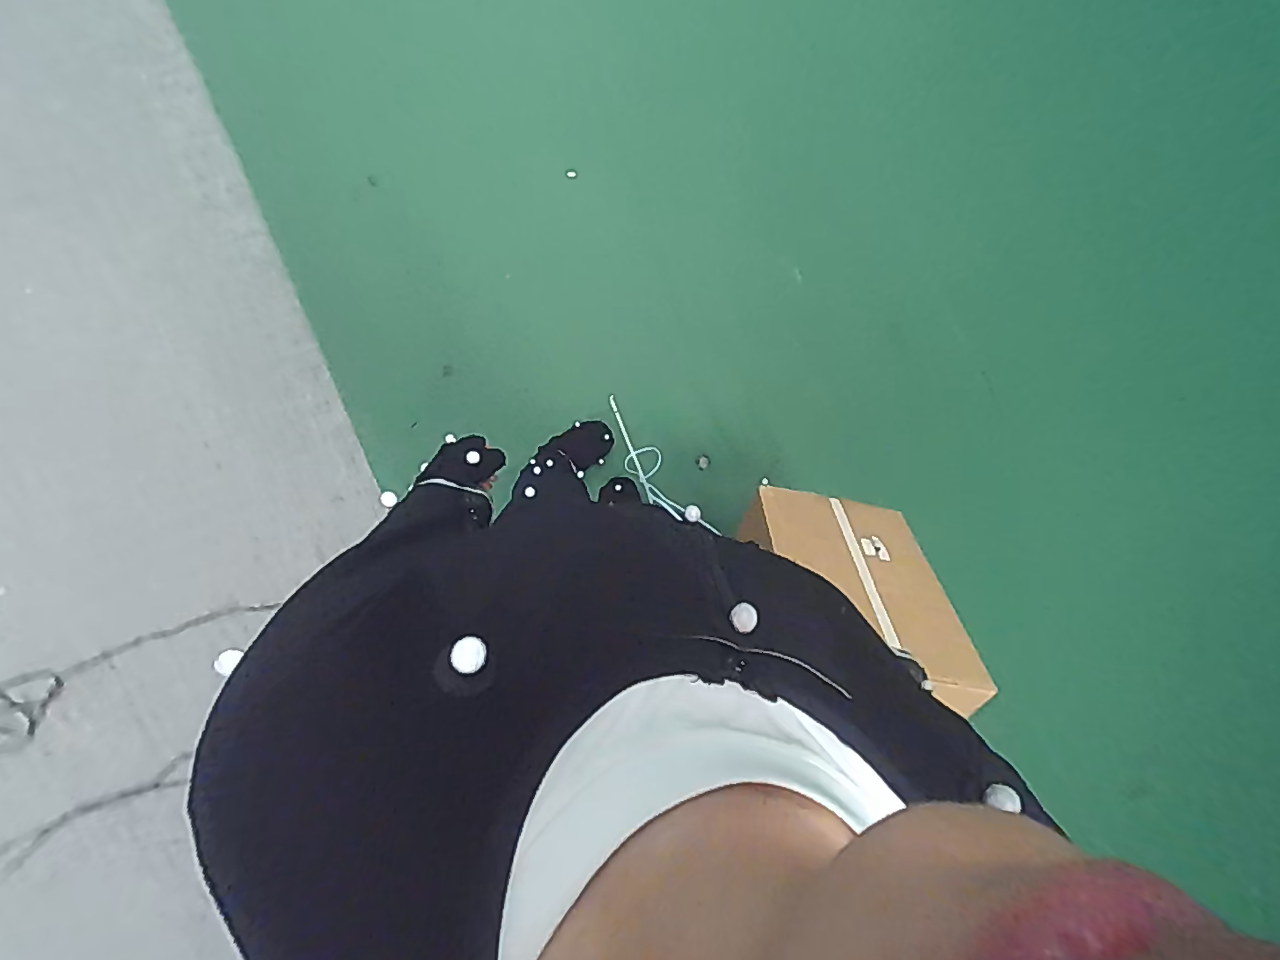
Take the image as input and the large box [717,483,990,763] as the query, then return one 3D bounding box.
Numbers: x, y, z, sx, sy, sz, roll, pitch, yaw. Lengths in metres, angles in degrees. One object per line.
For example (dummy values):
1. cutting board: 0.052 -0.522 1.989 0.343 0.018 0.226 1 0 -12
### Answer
1. large box: 0.352 0.266 1.038 0.320 0.408 0.320 11 127 -7
